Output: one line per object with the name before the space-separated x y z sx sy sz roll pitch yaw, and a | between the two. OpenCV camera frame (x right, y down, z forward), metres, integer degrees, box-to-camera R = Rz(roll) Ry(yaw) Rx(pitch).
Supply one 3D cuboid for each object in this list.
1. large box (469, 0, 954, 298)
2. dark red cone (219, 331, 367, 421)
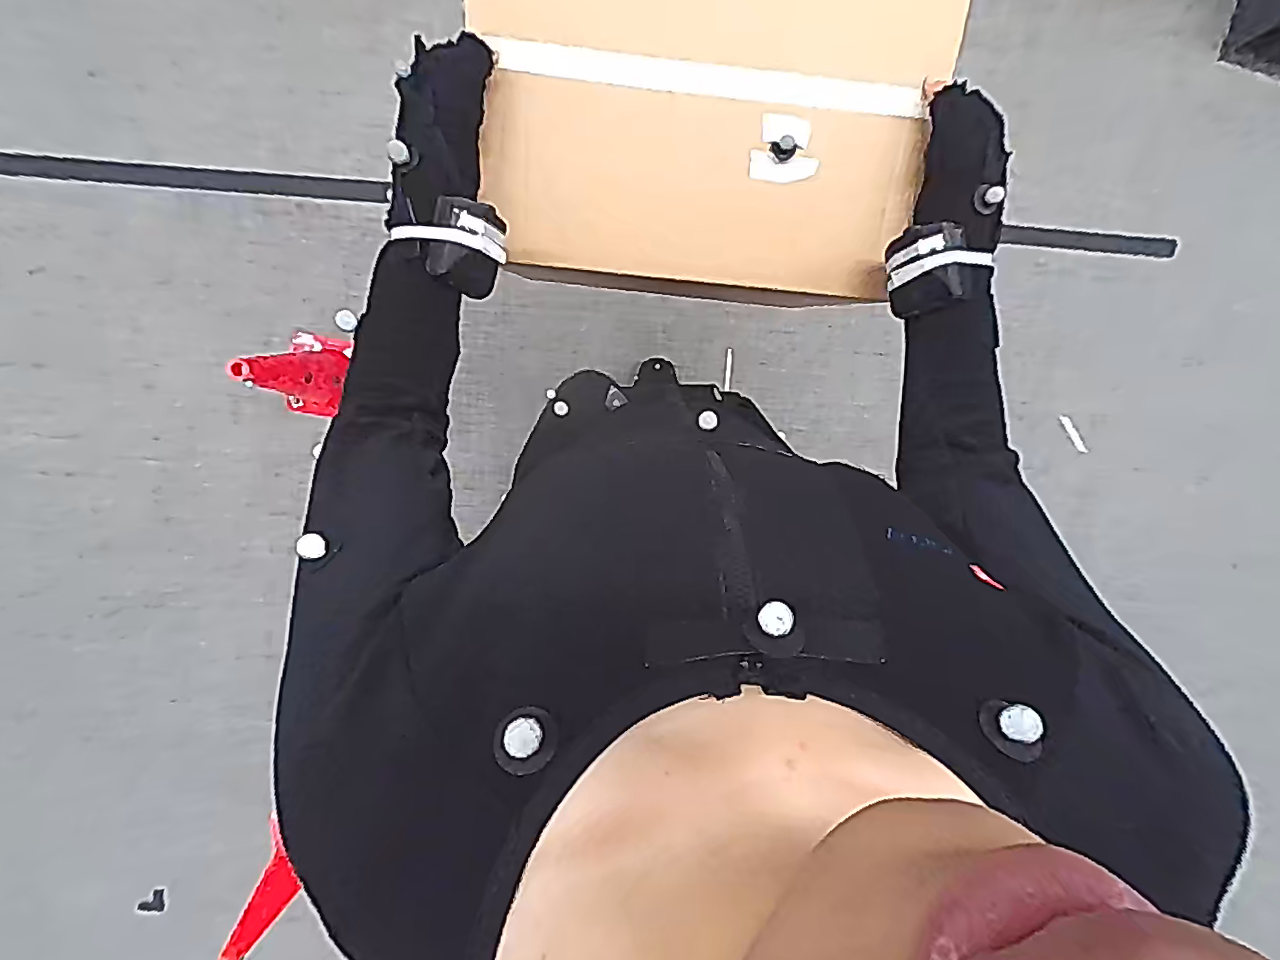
large box | 0.049 -0.383 0.597 0.408 0.320 0.320 4 107 -4
dark red cone | -0.772 -0.238 1.180 0.201 0.394 0.202 9 97 -6
